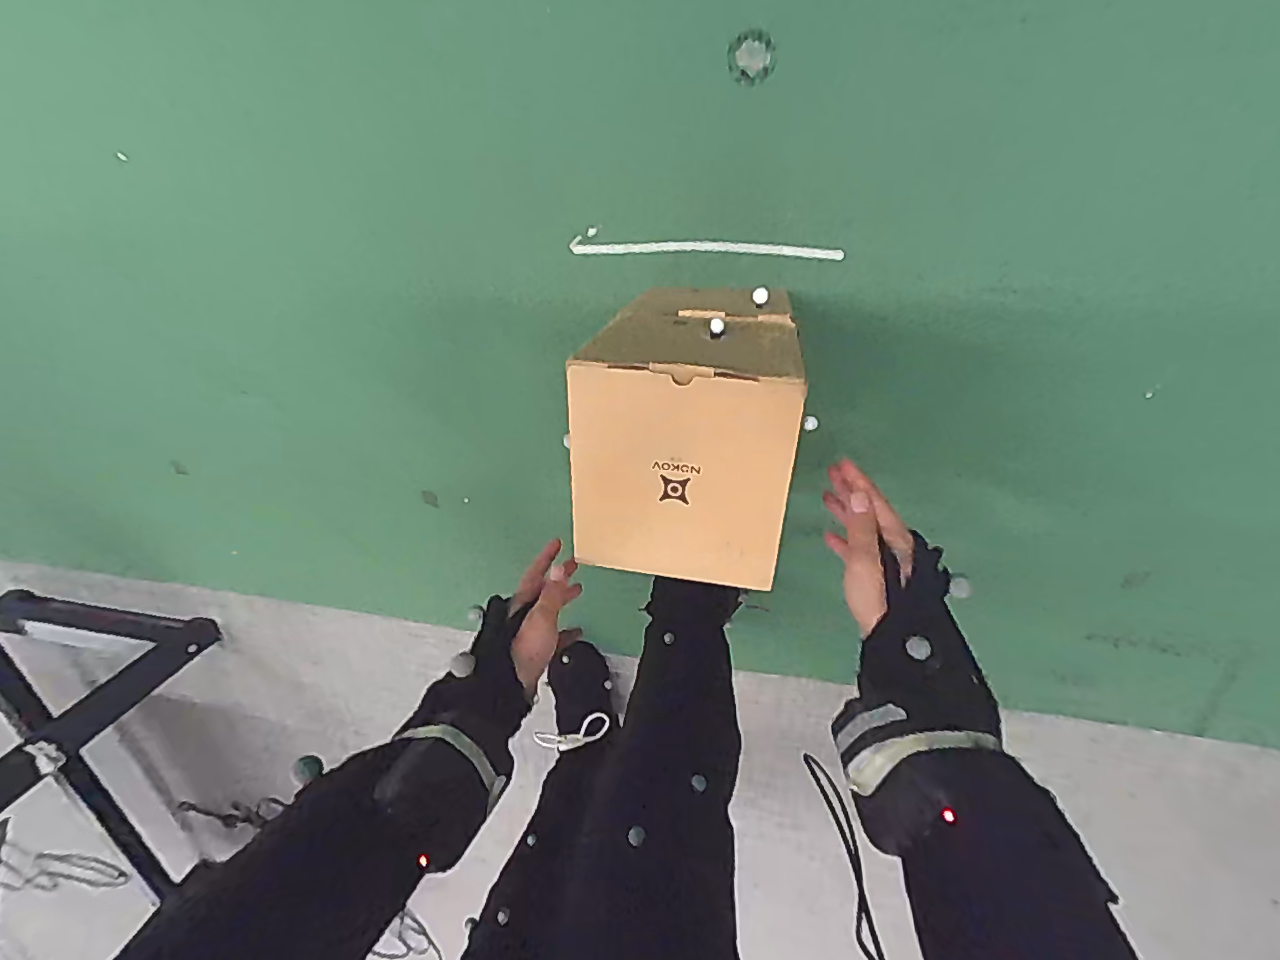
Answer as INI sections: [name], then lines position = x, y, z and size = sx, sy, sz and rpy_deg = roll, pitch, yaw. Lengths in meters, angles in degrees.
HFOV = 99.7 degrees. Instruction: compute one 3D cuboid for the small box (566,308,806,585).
[small box]
position = 0.044, -0.039, 0.468
size = 0.168, 0.176, 0.179
rpy_deg = 7, 118, 10
